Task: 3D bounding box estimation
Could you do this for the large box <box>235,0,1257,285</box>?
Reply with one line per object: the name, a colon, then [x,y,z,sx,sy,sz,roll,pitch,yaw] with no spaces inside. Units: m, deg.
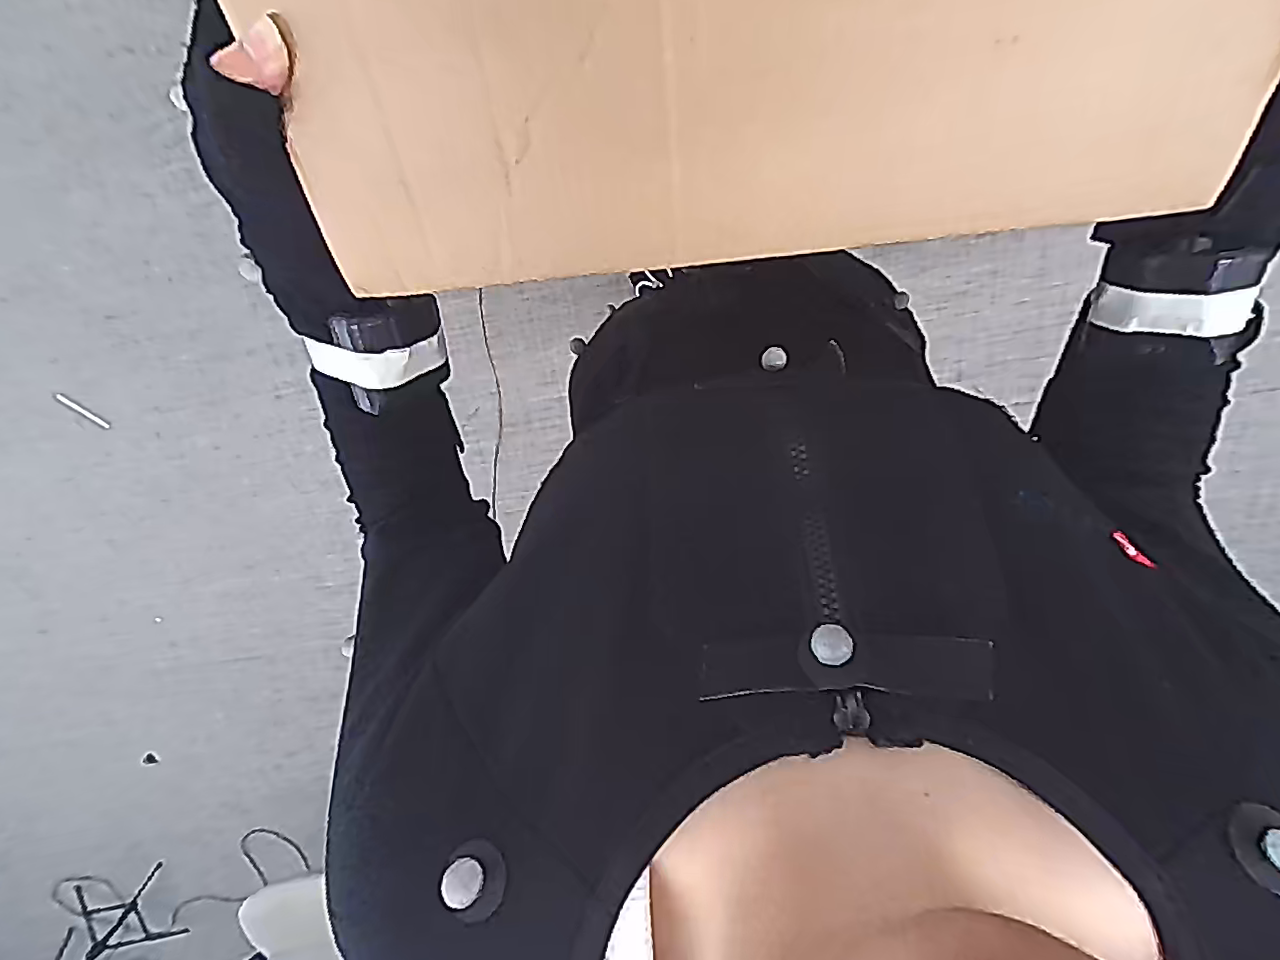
large box: [0.037,-0.331,0.286,0.408,0.320,0.320,-4,129,5]
